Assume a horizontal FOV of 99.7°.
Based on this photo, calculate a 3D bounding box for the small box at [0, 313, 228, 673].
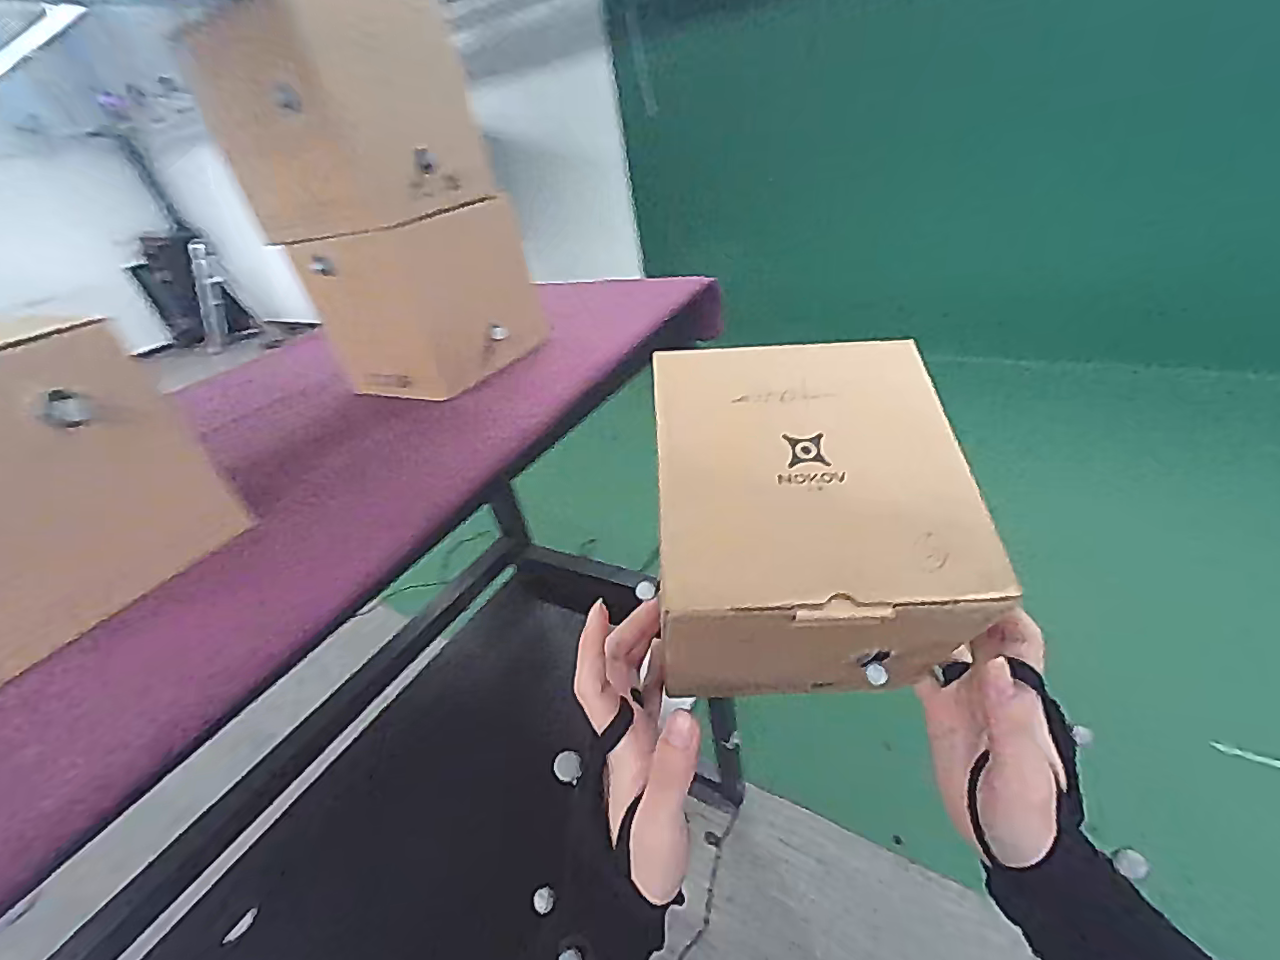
[{"bbox_3d":[-0.425,0.000,0.360,0.168,0.176,0.179,10,39,30],"label":"small box"}]

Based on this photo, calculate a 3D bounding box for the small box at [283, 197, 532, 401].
[{"bbox_3d":[-0.243,-0.205,0.613,0.168,0.176,0.179,8,38,30],"label":"small box"}]

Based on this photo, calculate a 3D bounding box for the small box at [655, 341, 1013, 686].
[{"bbox_3d":[0.096,0.032,0.362,0.168,0.176,0.179,-1,55,3],"label":"small box"}]
